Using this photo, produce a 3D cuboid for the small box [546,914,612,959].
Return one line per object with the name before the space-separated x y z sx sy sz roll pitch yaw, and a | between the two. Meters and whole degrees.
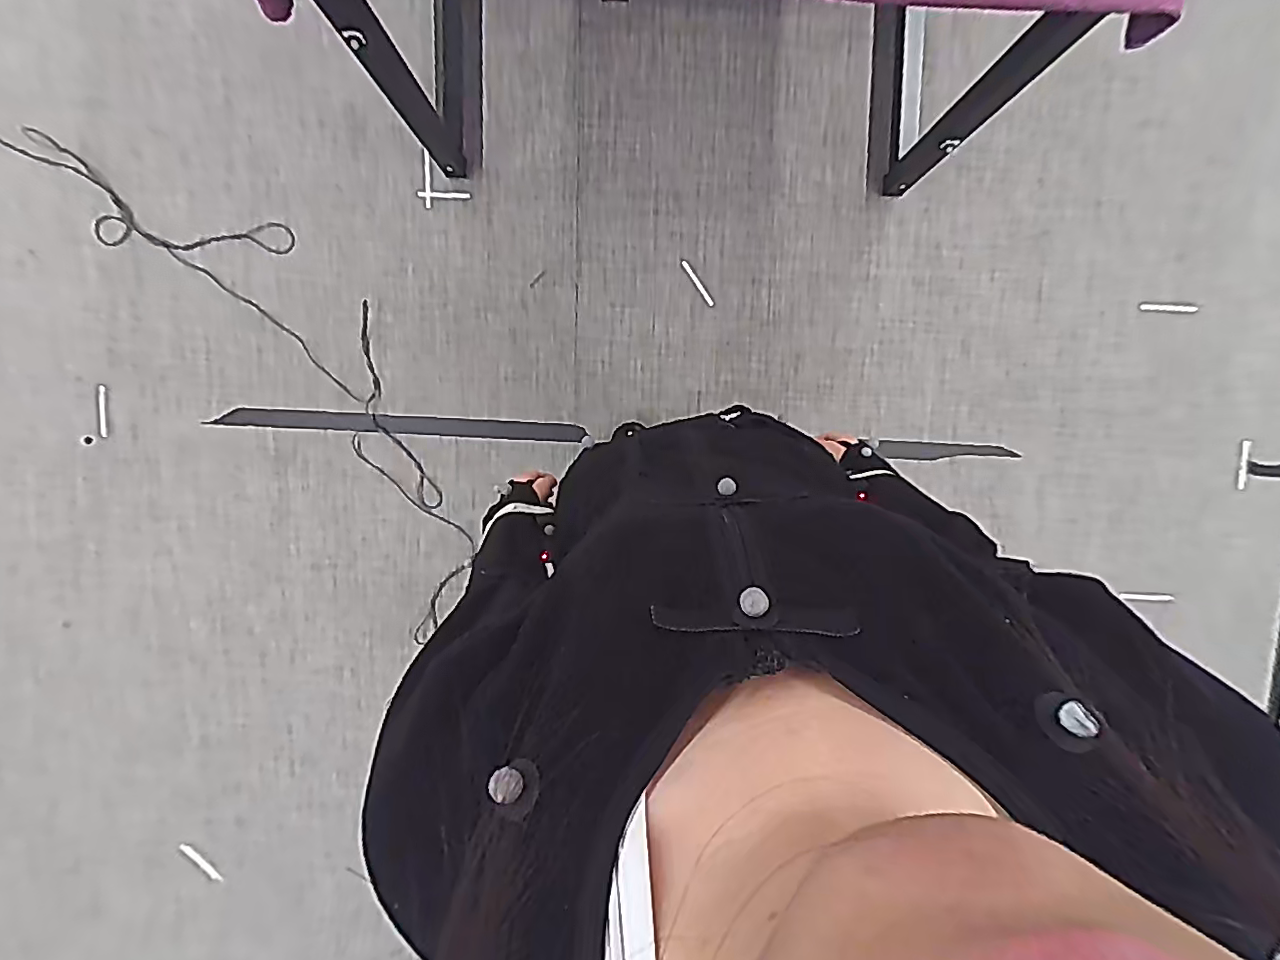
small box | -0.166 1.357 1.497 0.168 0.176 0.179 -4 96 -1
